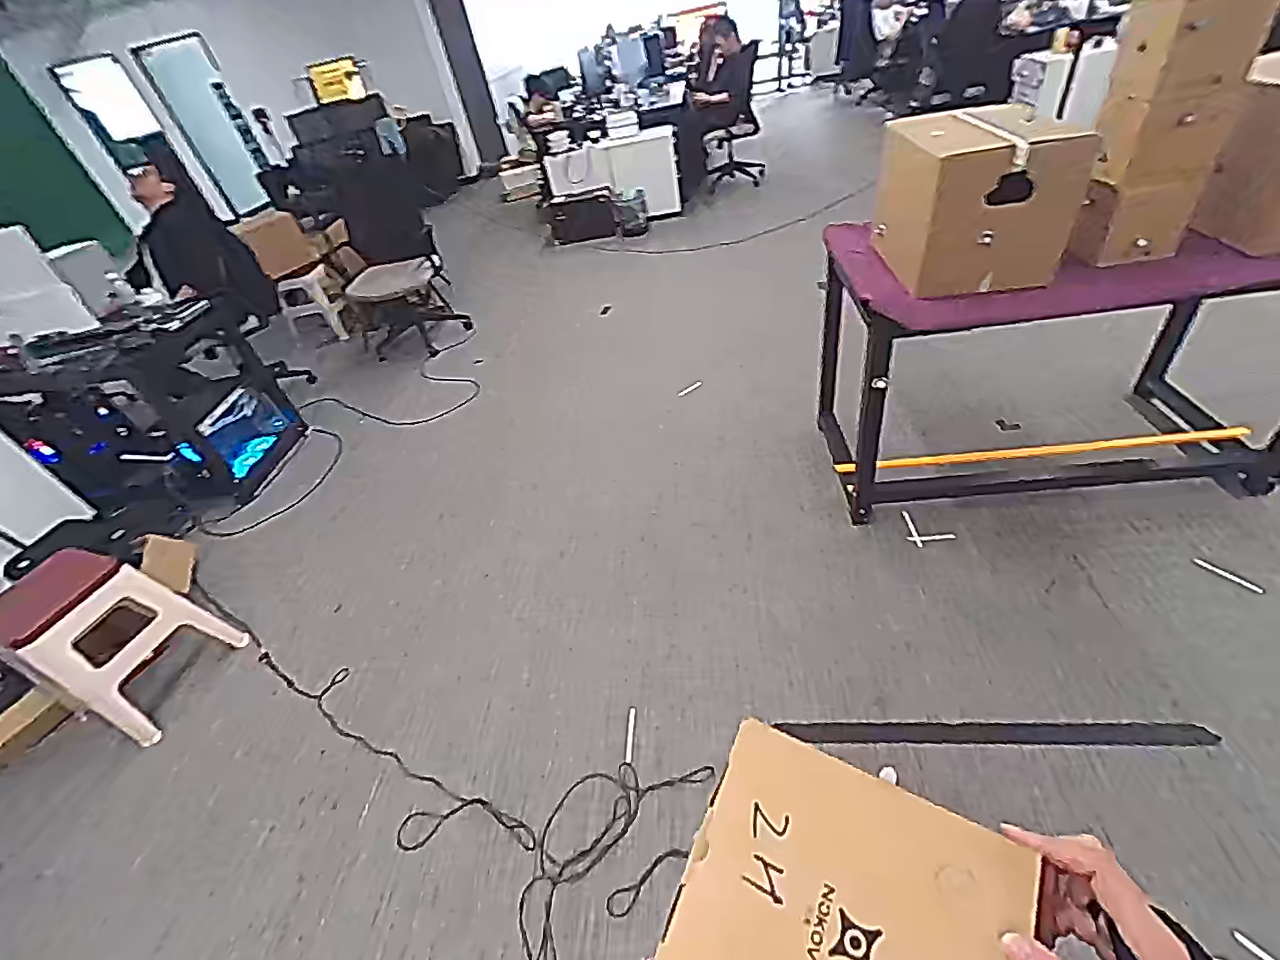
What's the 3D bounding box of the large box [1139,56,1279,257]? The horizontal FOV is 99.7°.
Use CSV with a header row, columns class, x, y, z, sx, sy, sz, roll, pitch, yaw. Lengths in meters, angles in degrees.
class,x,y,z,sx,sy,sz,roll,pitch,yaw
large box,1.481,-0.745,1.226,0.320,0.320,0.408,-6,40,9
